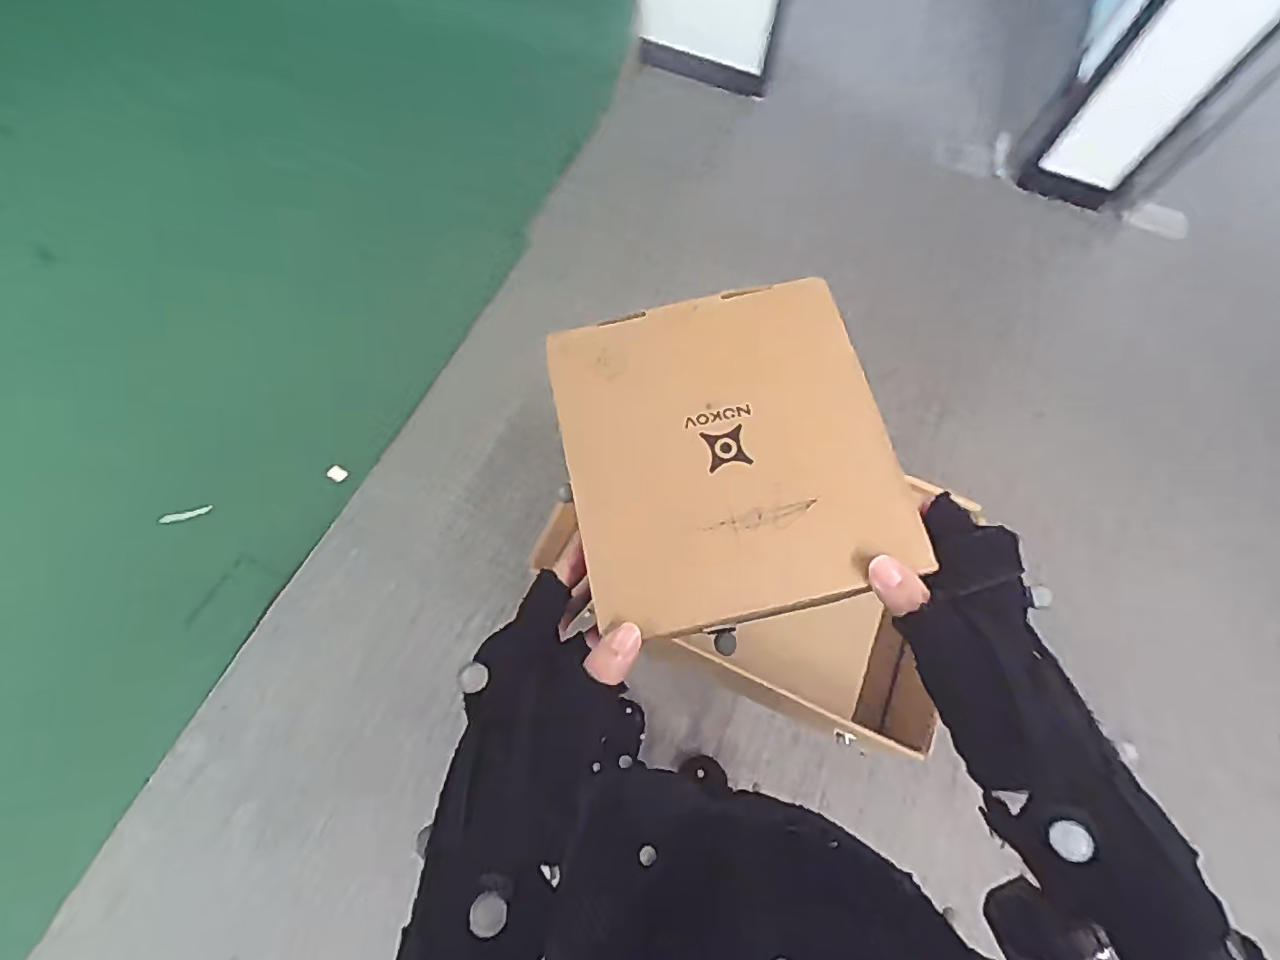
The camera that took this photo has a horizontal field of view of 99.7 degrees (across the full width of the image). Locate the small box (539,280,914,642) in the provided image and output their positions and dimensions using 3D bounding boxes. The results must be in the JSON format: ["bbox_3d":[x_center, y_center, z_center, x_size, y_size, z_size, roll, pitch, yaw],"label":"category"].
[{"bbox_3d":[0.040,0.004,0.363,0.168,0.176,0.179,-13,73,-2],"label":"small box"}]
